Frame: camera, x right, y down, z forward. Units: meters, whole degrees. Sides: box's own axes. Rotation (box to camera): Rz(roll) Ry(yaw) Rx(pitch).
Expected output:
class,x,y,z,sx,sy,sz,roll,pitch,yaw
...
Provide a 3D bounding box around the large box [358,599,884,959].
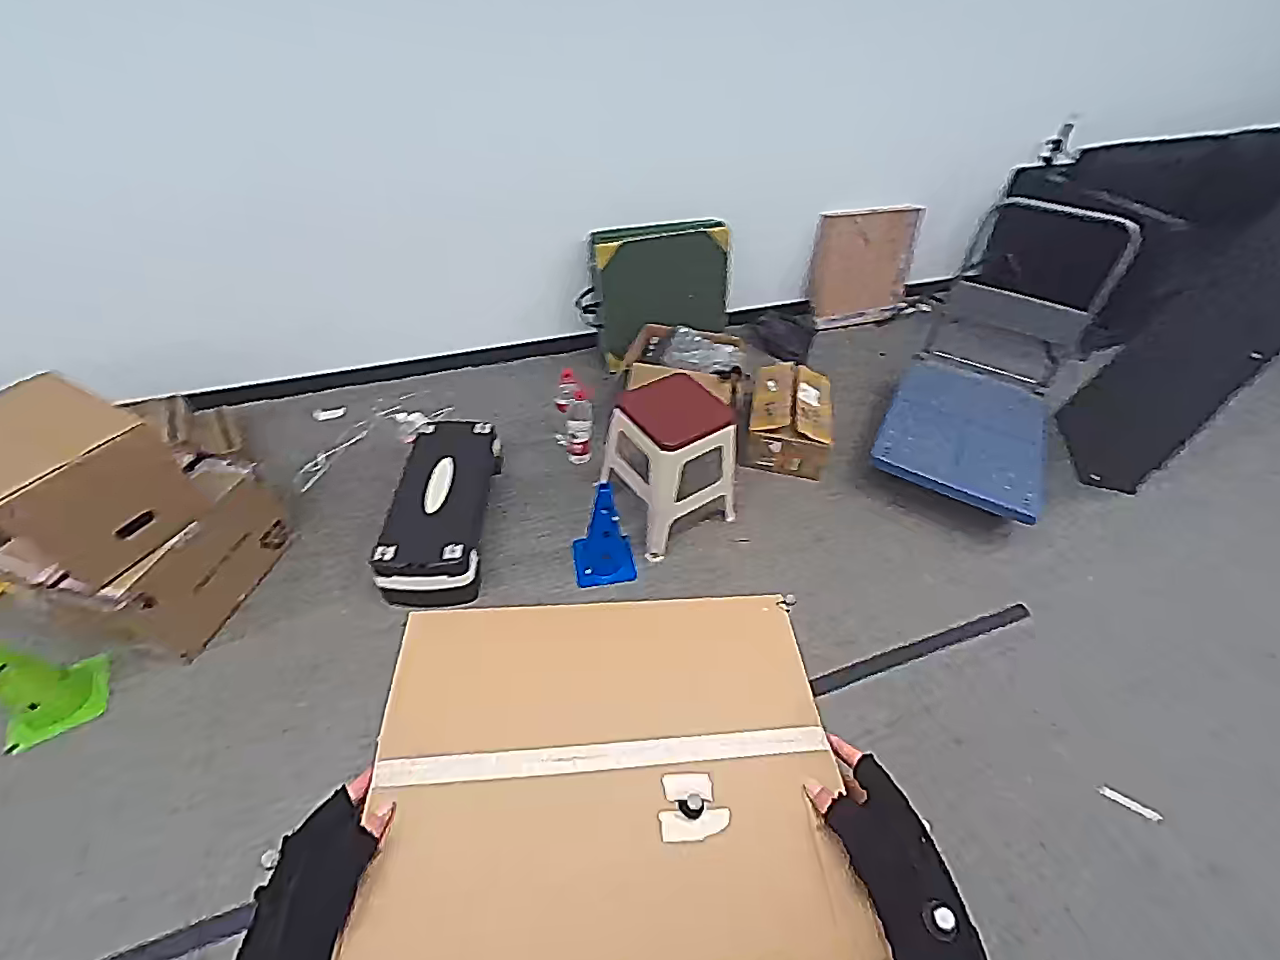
class,x,y,z,sx,sy,sz,roll,pitch,yaw
large box,-0.030,0.354,0.603,0.408,0.320,0.320,-1,47,-6
